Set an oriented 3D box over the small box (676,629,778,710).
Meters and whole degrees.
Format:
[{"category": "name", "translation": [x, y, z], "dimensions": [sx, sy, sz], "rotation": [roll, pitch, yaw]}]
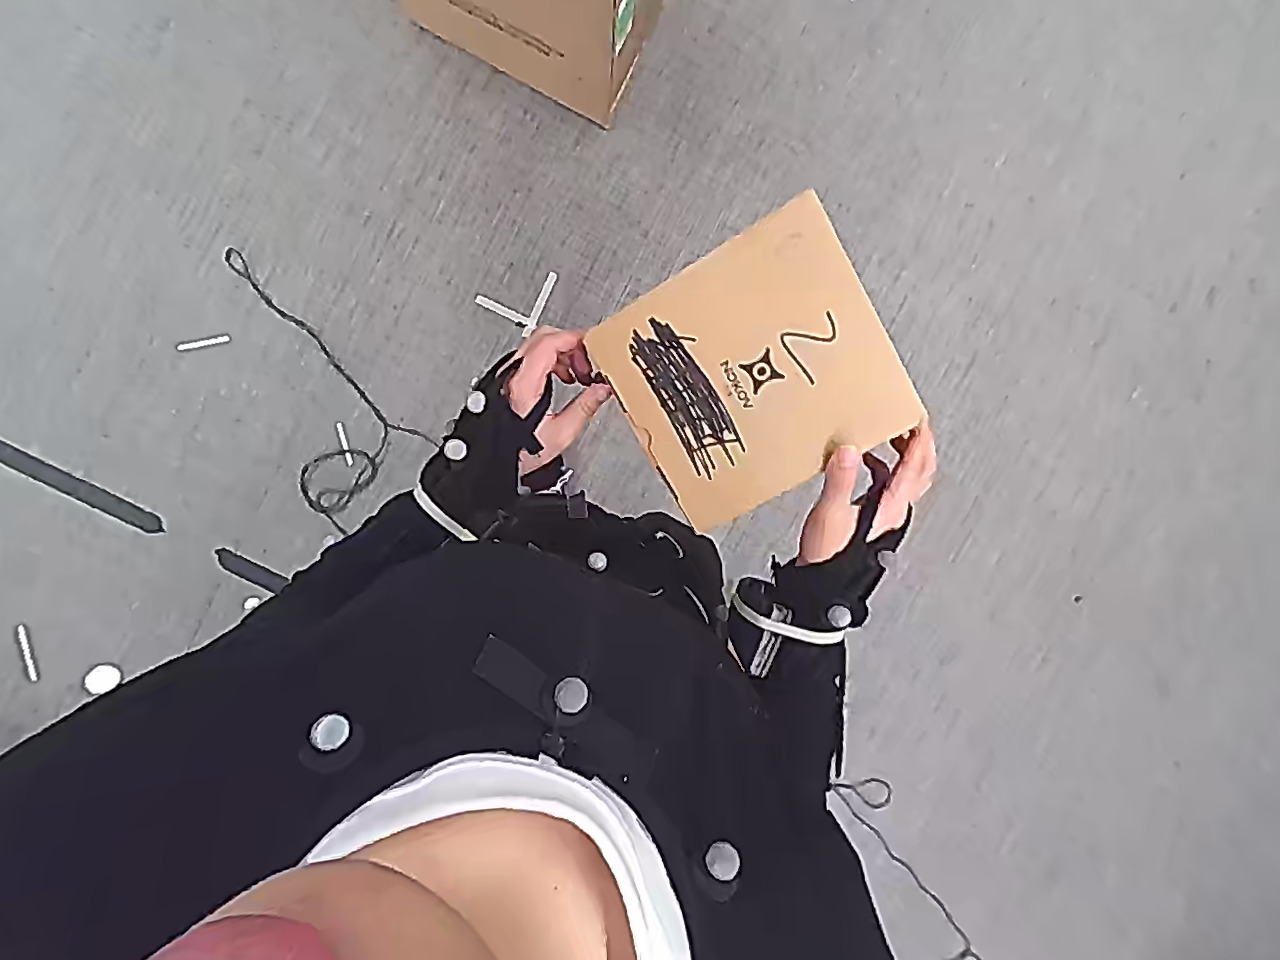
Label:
[{"category": "small box", "translation": [0.209, 0.496, 1.345], "dimensions": [0.179, 0.176, 0.168], "rotation": [27, 91, -5]}]
